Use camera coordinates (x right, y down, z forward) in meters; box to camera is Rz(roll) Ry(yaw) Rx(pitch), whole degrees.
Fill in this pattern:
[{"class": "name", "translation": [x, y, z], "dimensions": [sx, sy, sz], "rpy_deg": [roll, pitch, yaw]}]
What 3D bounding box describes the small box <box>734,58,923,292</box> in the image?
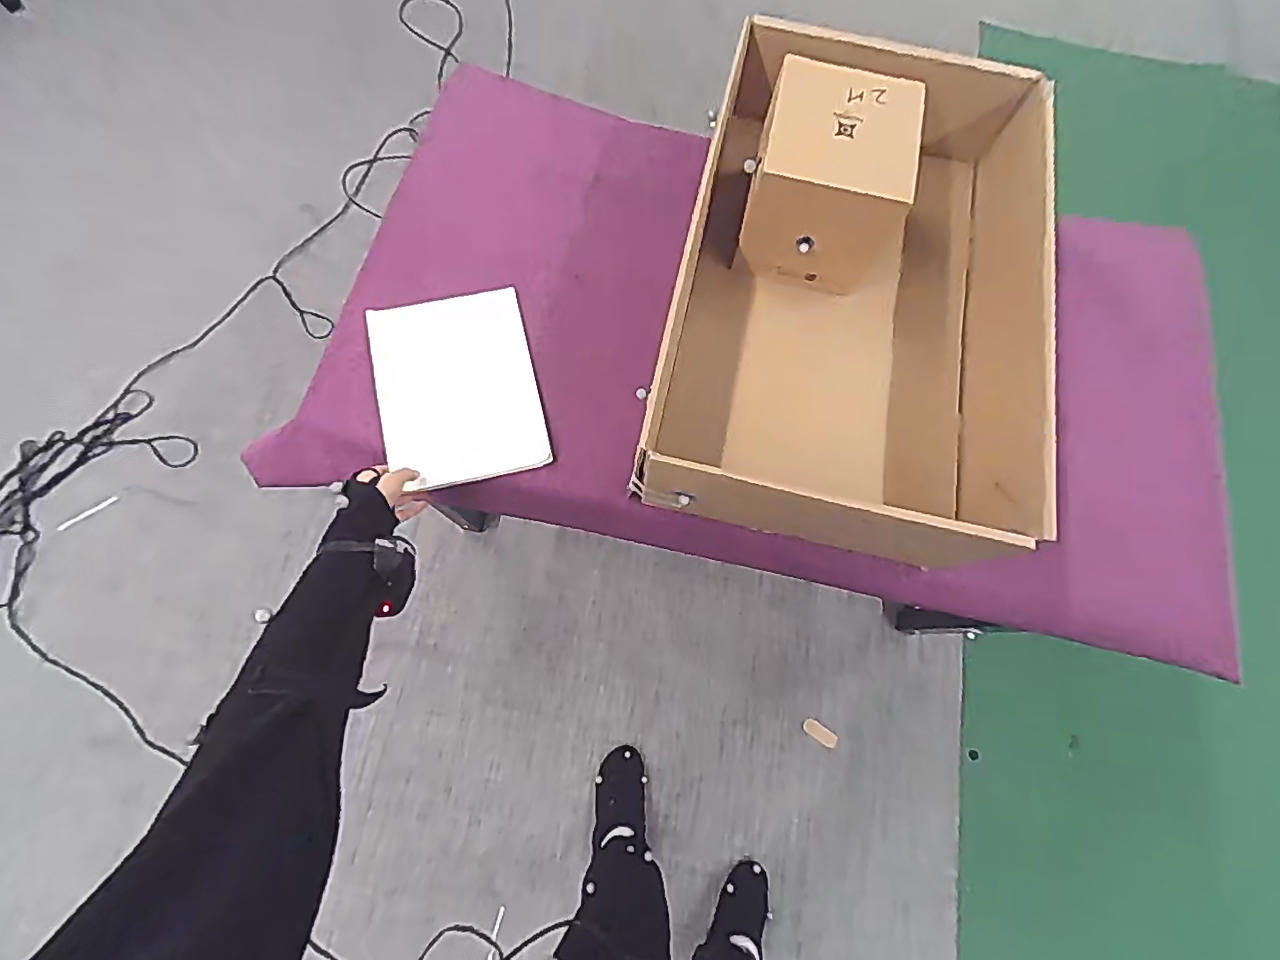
[{"class": "small box", "translation": [0.222, -0.366, 0.675], "dimensions": [0.168, 0.176, 0.179], "rpy_deg": [13, 74, 1]}]
